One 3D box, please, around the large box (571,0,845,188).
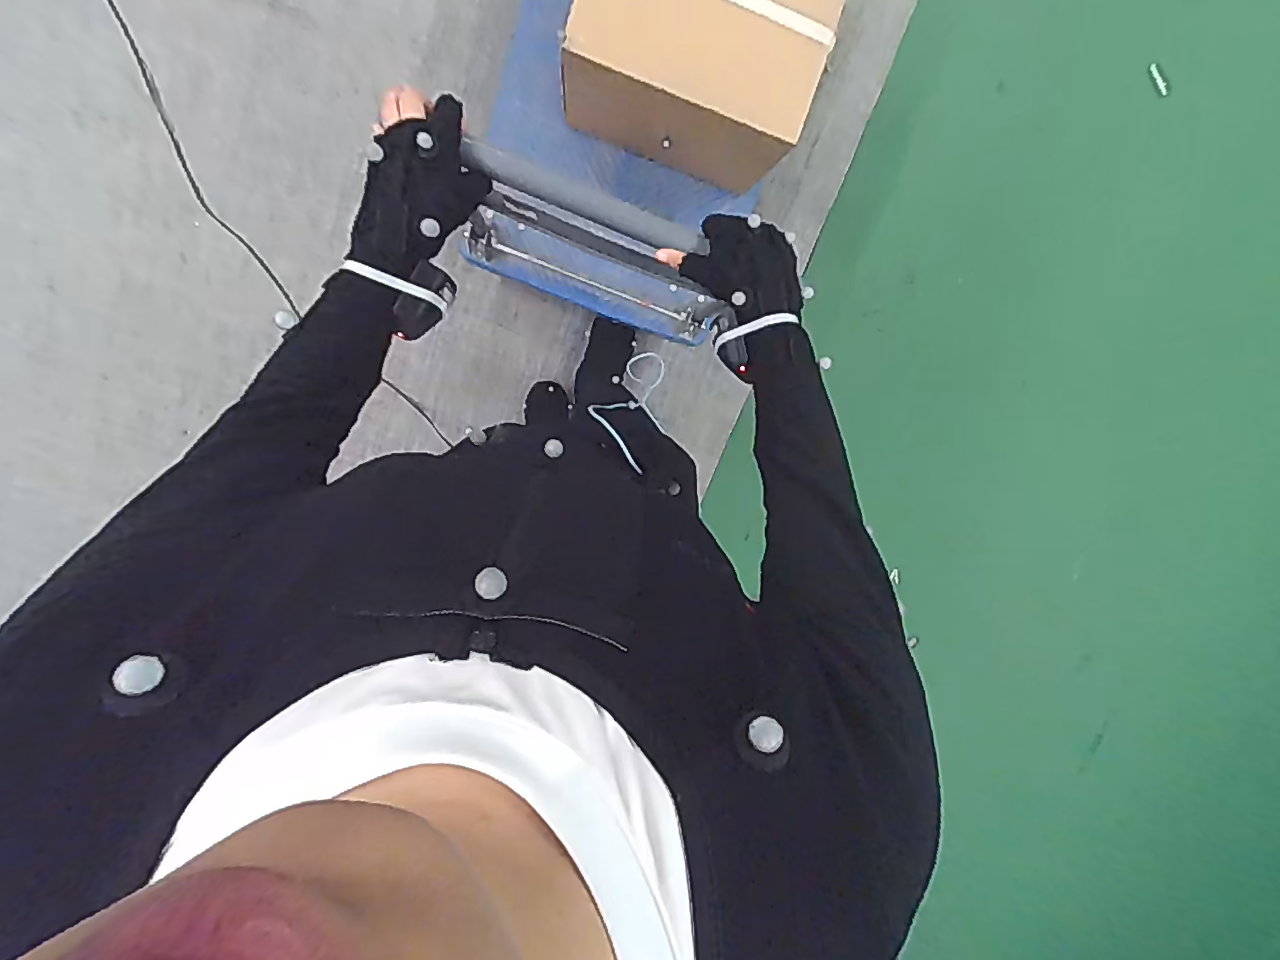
[{"bbox_3d":[0.111,-0.793,0.994,0.408,0.320,0.320,15,101,-8],"label":"large box"}]
